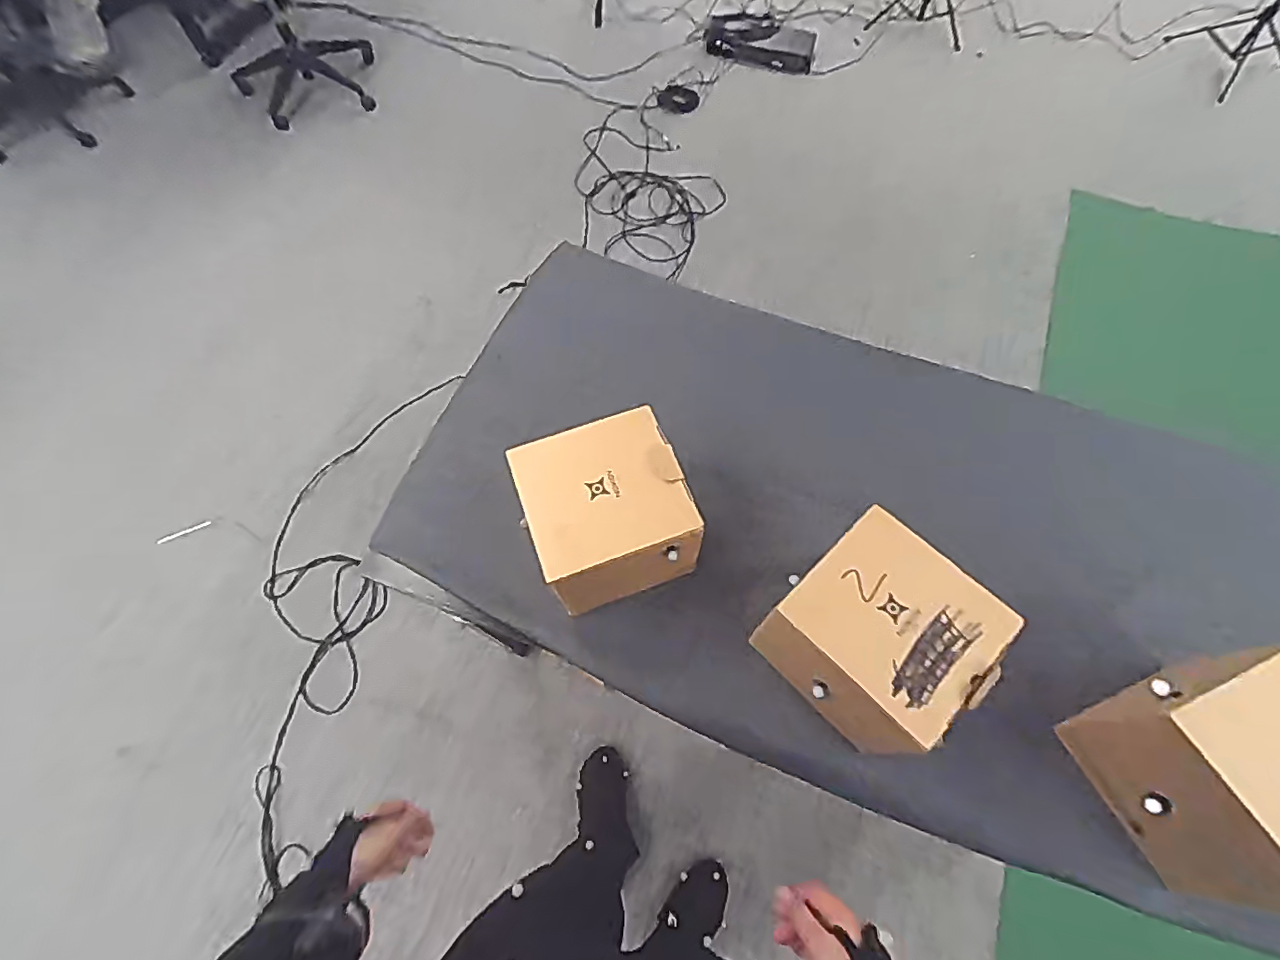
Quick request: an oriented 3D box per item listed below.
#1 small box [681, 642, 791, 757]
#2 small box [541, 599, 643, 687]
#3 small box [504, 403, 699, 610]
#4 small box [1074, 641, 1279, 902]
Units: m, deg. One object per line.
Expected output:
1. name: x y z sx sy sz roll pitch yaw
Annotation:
1. small box: 0.211 0.500 1.234 0.179 0.176 0.168 38 70 19
2. small box: -0.107 0.378 1.300 0.179 0.176 0.168 30 69 16
3. small box: -0.042 0.040 0.654 0.179 0.176 0.168 -19 65 -9
4. small box: 0.576 0.276 0.520 0.179 0.176 0.168 -21 63 -9
